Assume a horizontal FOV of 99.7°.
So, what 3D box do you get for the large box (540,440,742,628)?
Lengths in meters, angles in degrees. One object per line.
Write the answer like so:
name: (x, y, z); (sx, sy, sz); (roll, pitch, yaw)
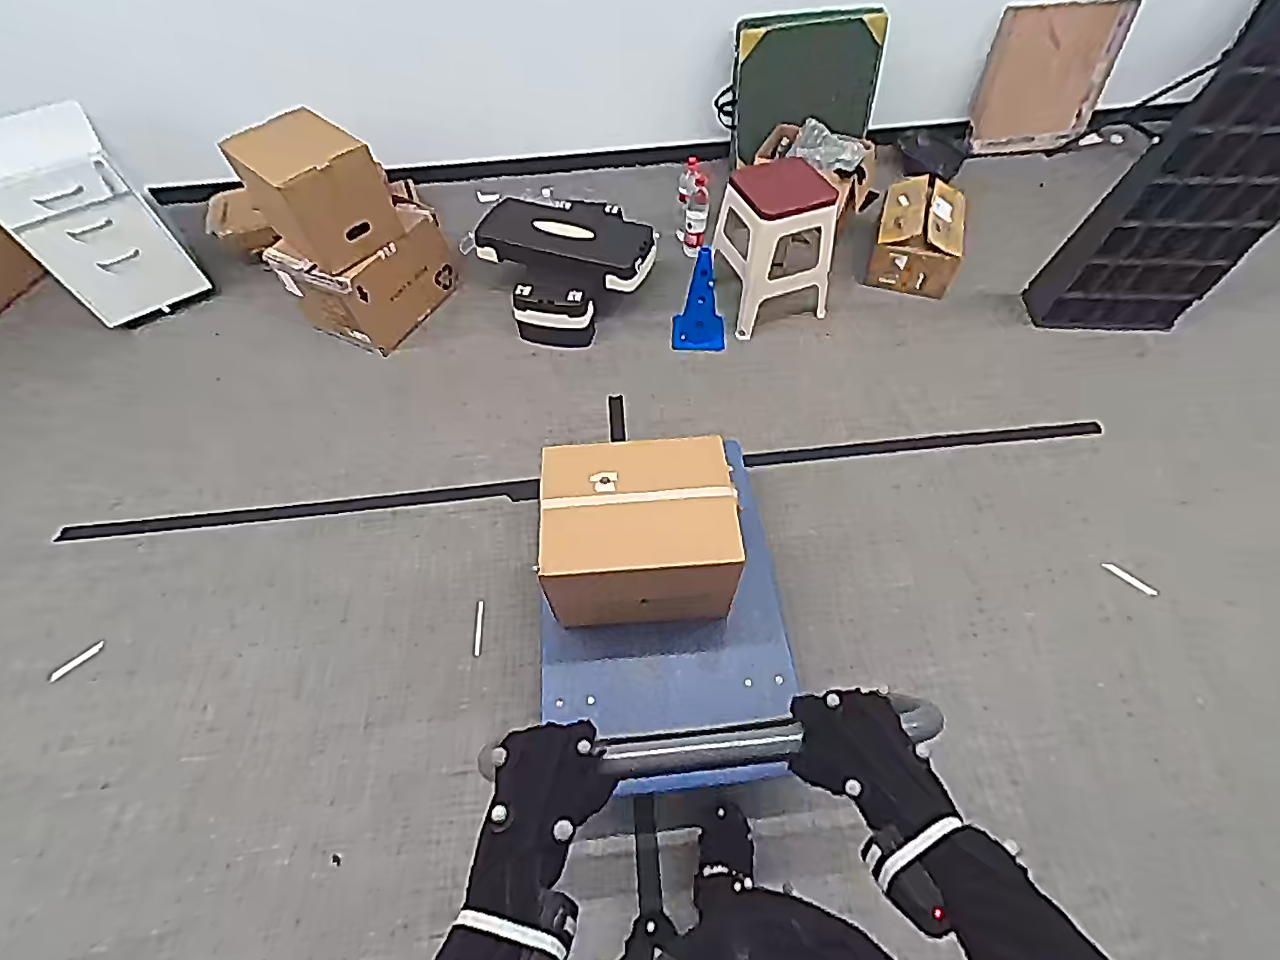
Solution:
large box: (-0.001, 0.136, 1.258); (0.408, 0.320, 0.320); (-5, 56, 0)
